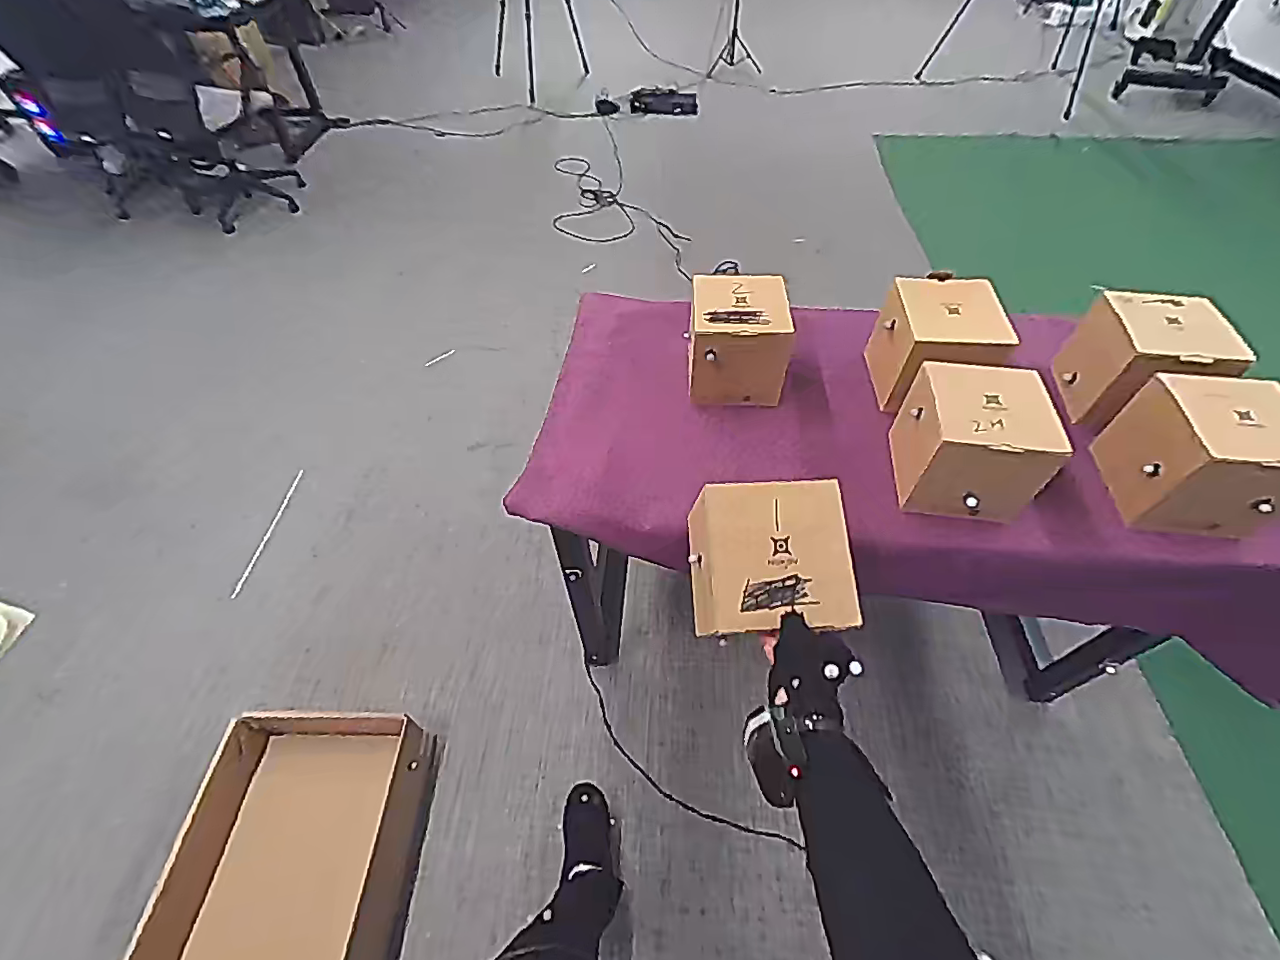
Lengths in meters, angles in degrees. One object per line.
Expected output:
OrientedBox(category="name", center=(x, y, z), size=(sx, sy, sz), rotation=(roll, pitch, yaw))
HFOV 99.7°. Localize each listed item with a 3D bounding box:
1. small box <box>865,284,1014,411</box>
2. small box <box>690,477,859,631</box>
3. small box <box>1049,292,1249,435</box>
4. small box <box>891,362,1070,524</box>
OrientedBox(category="small box", center=(0.529, -0.233, 0.983), size=(0.168, 0.176, 0.179), rotation=(2, 51, 3))
OrientedBox(category="small box", center=(0.160, 0.104, 0.703), size=(0.168, 0.176, 0.179), rotation=(-1, 71, -3))
OrientedBox(category="small box", center=(0.865, -0.200, 0.943), size=(0.168, 0.176, 0.179), rotation=(8, 53, 8))
OrientedBox(category="small box", center=(0.506, -0.057, 0.839), size=(0.168, 0.176, 0.179), rotation=(6, 52, 7))
